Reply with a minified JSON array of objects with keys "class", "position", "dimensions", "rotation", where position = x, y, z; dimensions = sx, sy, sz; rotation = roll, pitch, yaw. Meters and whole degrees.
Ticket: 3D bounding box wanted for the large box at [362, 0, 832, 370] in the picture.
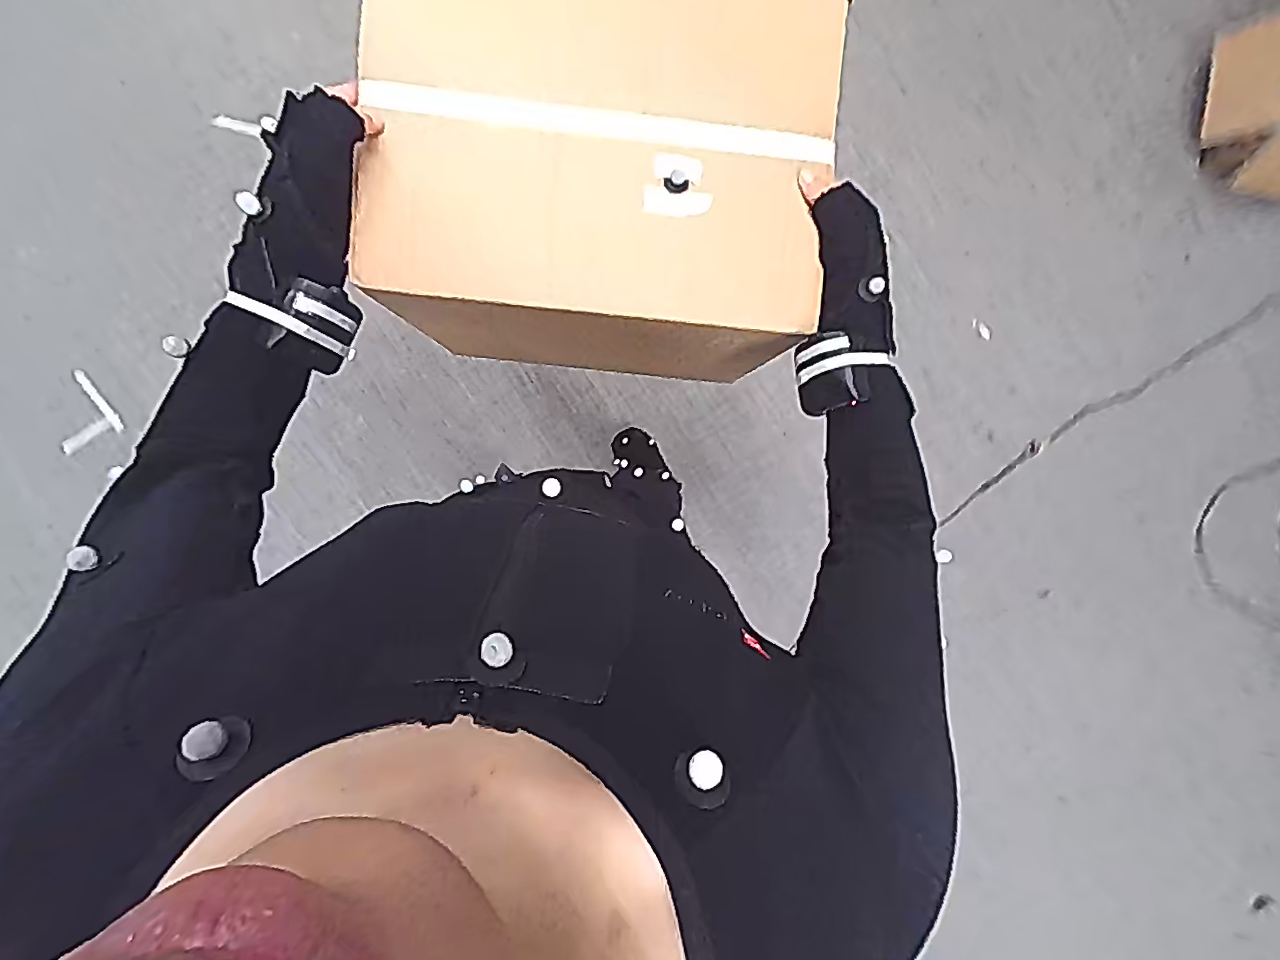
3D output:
[{"class":"large box","position":[-0.045,-0.317,0.619],"dimensions":[0.408,0.320,0.320],"rotation":[4,92,-5]}]
